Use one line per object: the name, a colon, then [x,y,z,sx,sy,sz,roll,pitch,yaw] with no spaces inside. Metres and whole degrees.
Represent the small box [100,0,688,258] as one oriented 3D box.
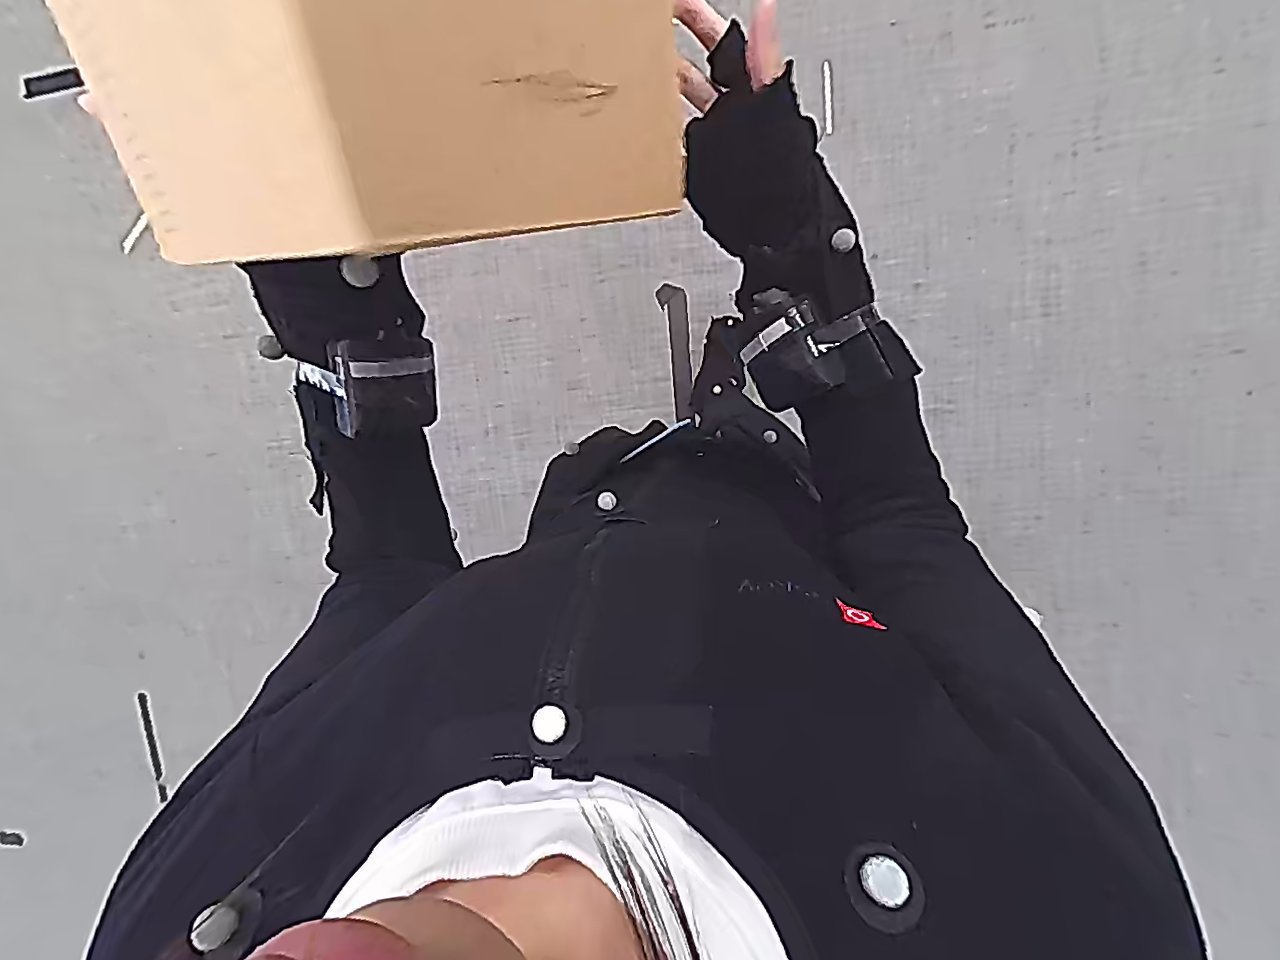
small box: [-0.096,-0.196,0.222,0.176,0.168,0.179,12,121,32]
